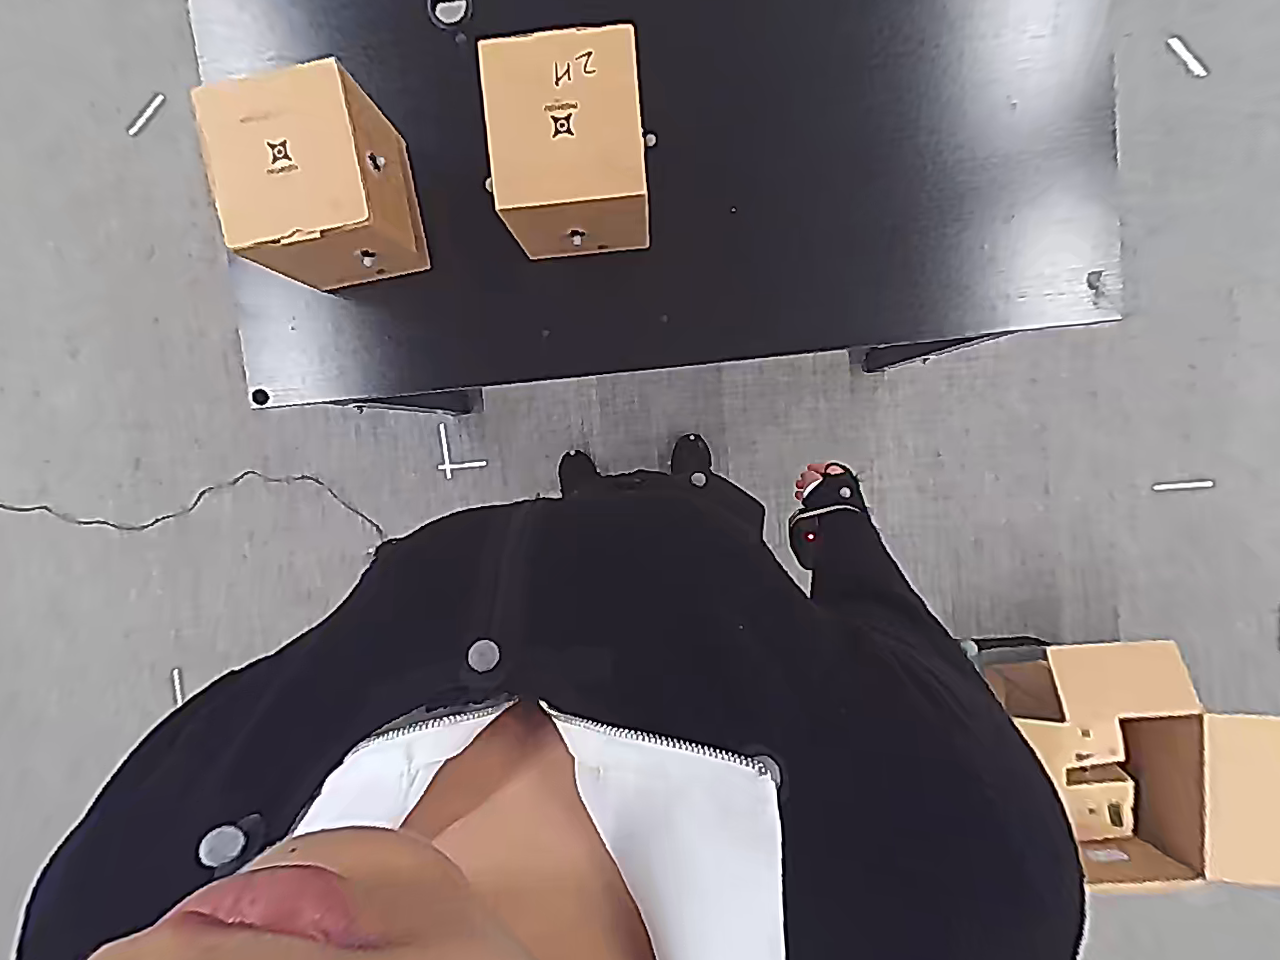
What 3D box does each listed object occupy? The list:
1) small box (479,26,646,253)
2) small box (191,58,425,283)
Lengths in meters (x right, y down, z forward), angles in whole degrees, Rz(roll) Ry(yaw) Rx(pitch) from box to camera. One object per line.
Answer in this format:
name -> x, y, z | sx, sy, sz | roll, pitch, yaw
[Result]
small box -> -0.080, -0.387, 0.651 | 0.168, 0.176, 0.179 | -4, 94, 1
small box -> -0.386, -0.357, 0.663 | 0.168, 0.176, 0.179 | -11, 93, 1
